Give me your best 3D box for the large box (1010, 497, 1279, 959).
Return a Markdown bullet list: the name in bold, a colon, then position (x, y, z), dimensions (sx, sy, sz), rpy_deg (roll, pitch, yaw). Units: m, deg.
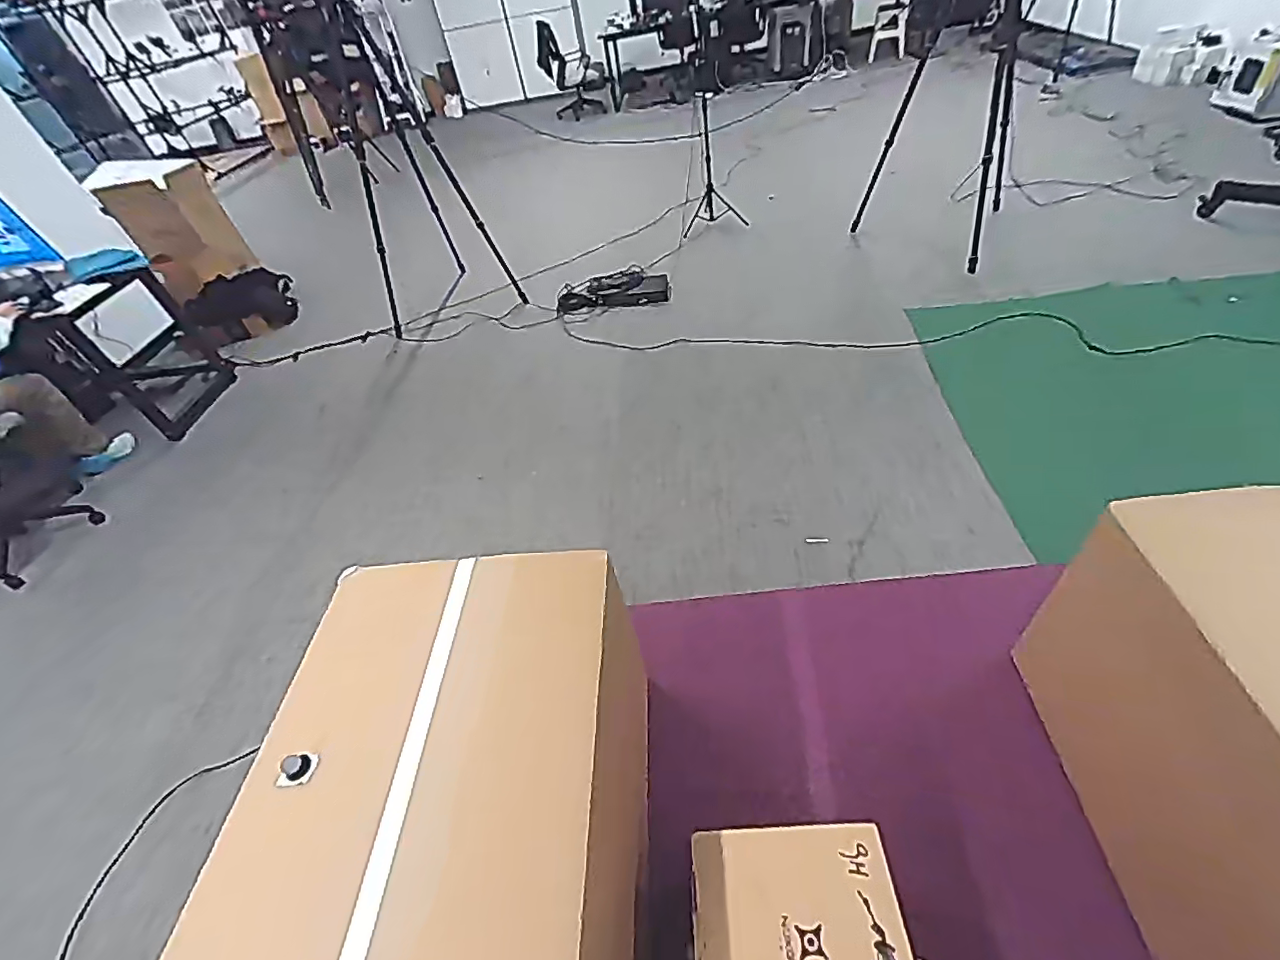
- **large box**: position (0.630, 0.262, 0.489), dimensions (0.320, 0.320, 0.408), rpy_deg (-5, 46, 8)
